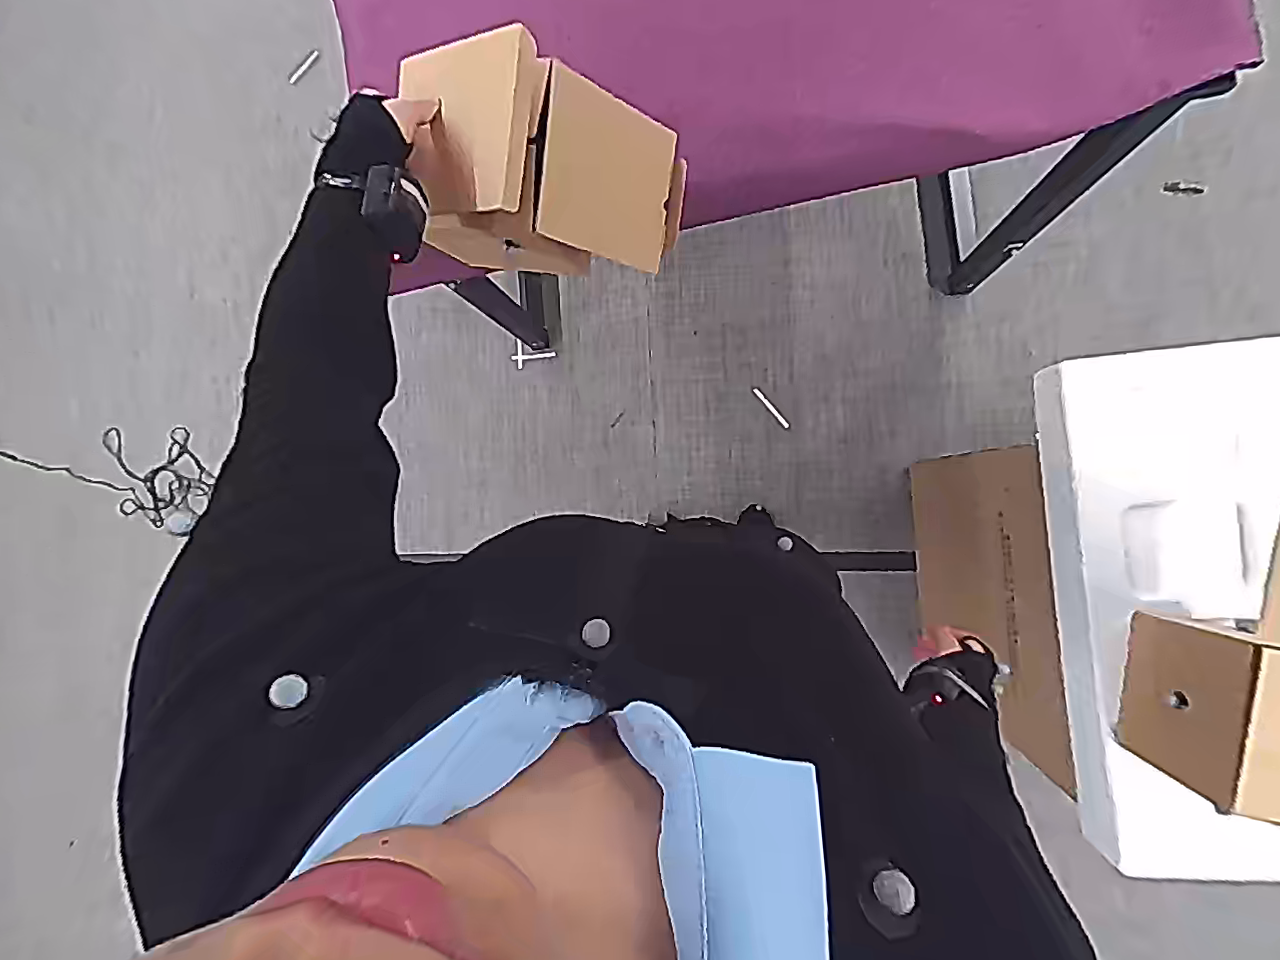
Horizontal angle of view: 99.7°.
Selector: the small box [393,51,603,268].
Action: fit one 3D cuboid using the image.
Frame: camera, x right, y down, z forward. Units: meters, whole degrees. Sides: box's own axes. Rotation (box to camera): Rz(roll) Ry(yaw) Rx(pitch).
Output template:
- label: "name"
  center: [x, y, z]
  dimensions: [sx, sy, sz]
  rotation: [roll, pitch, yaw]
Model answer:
- label: "small box"
  center: [-0.154, -0.359, 0.634]
  dimensions: [0.179, 0.176, 0.168]
  rotation: [10, 97, 14]
